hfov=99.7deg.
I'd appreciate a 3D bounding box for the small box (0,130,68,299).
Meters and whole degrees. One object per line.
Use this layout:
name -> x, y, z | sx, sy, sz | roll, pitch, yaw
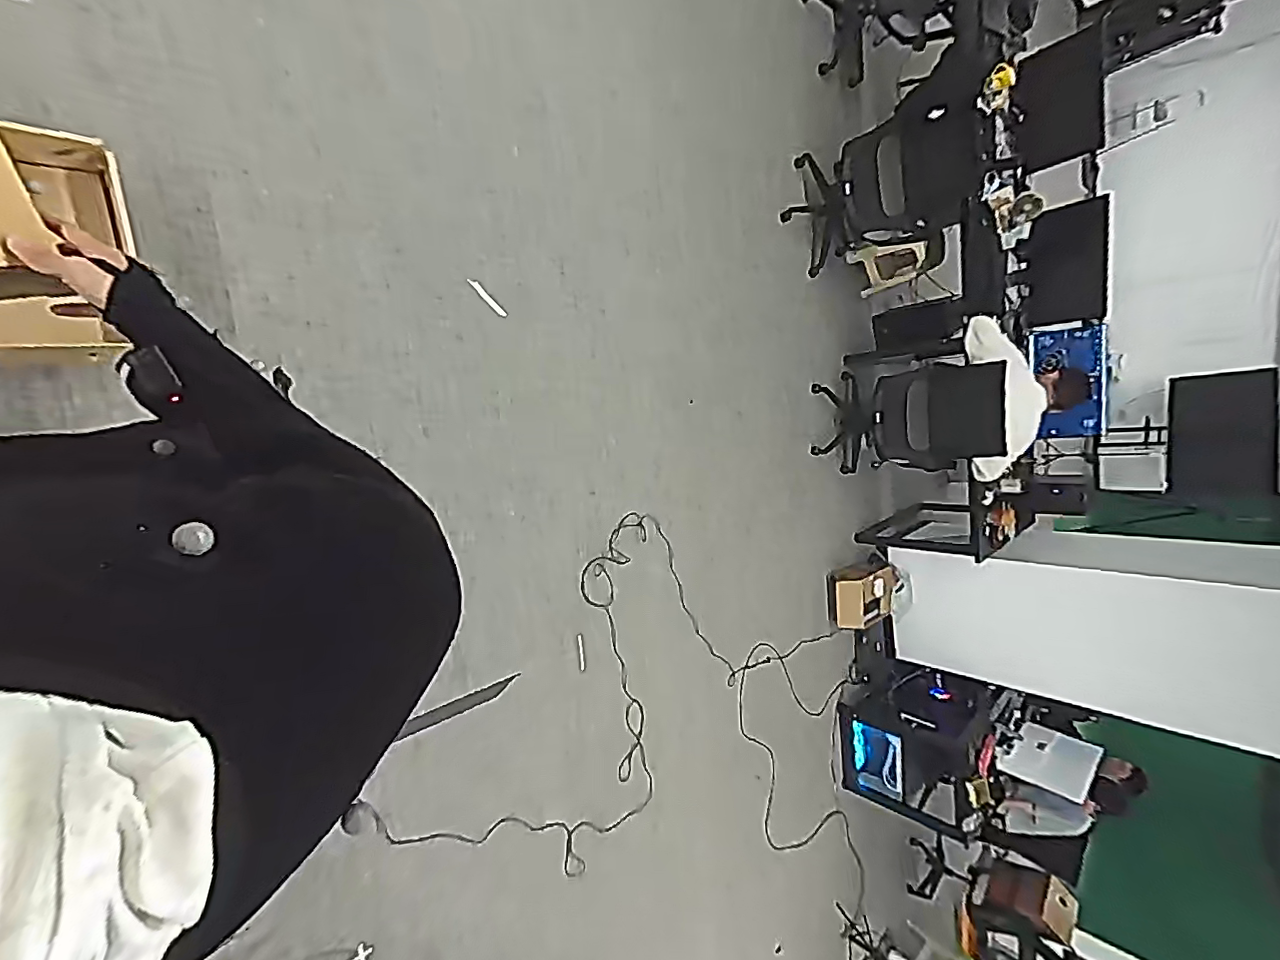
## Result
small box -> -0.674, -0.260, 0.485 | 0.168, 0.176, 0.179 | -31, 117, -42
